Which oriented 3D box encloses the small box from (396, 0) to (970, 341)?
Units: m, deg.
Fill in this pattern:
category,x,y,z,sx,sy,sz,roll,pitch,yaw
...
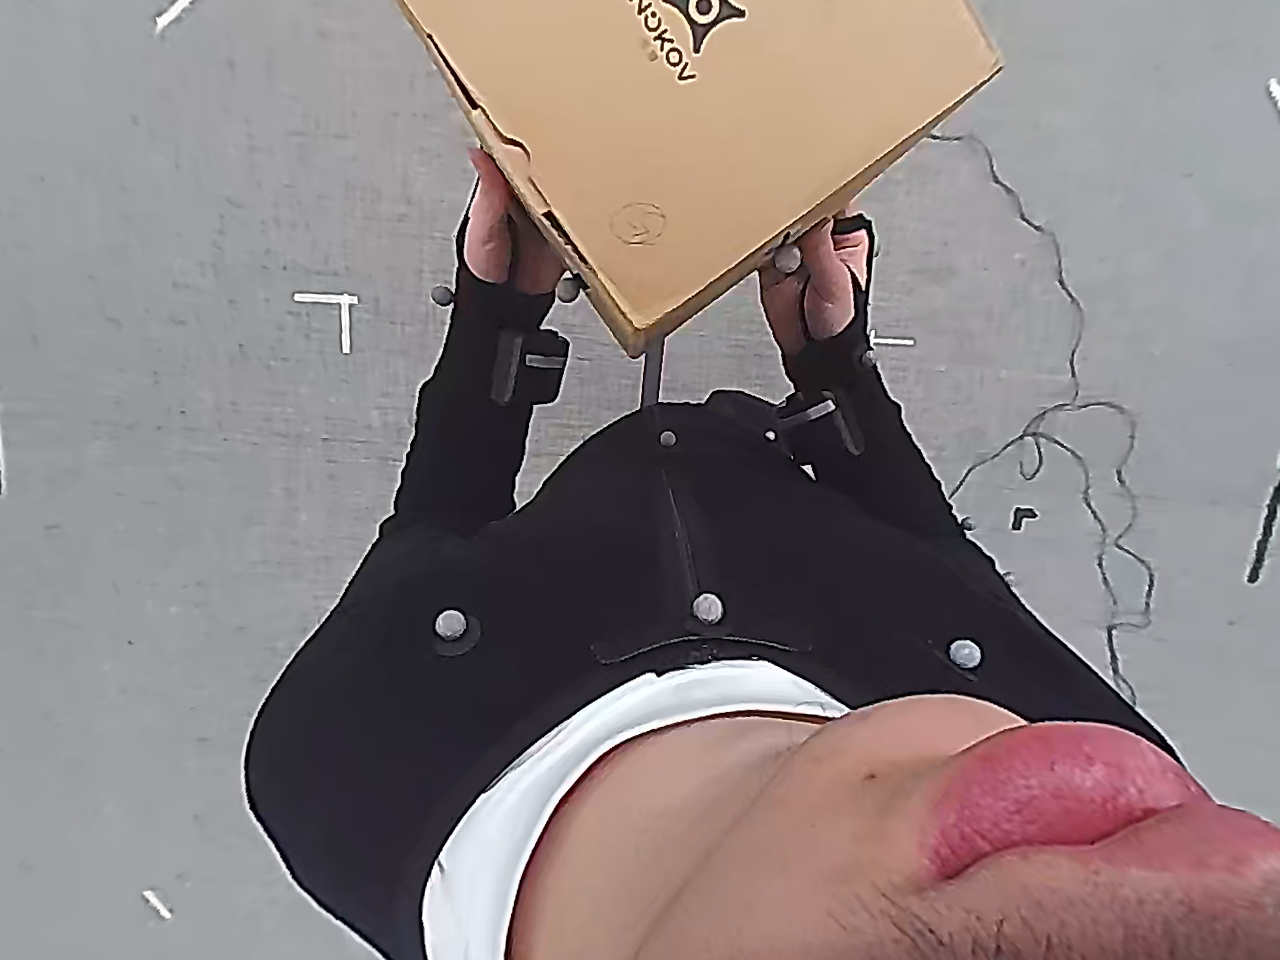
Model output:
category,x,y,z,sx,sy,sz,roll,pitch,yaw
small box,0.017,-0.192,0.291,0.179,0.176,0.168,-36,99,4
